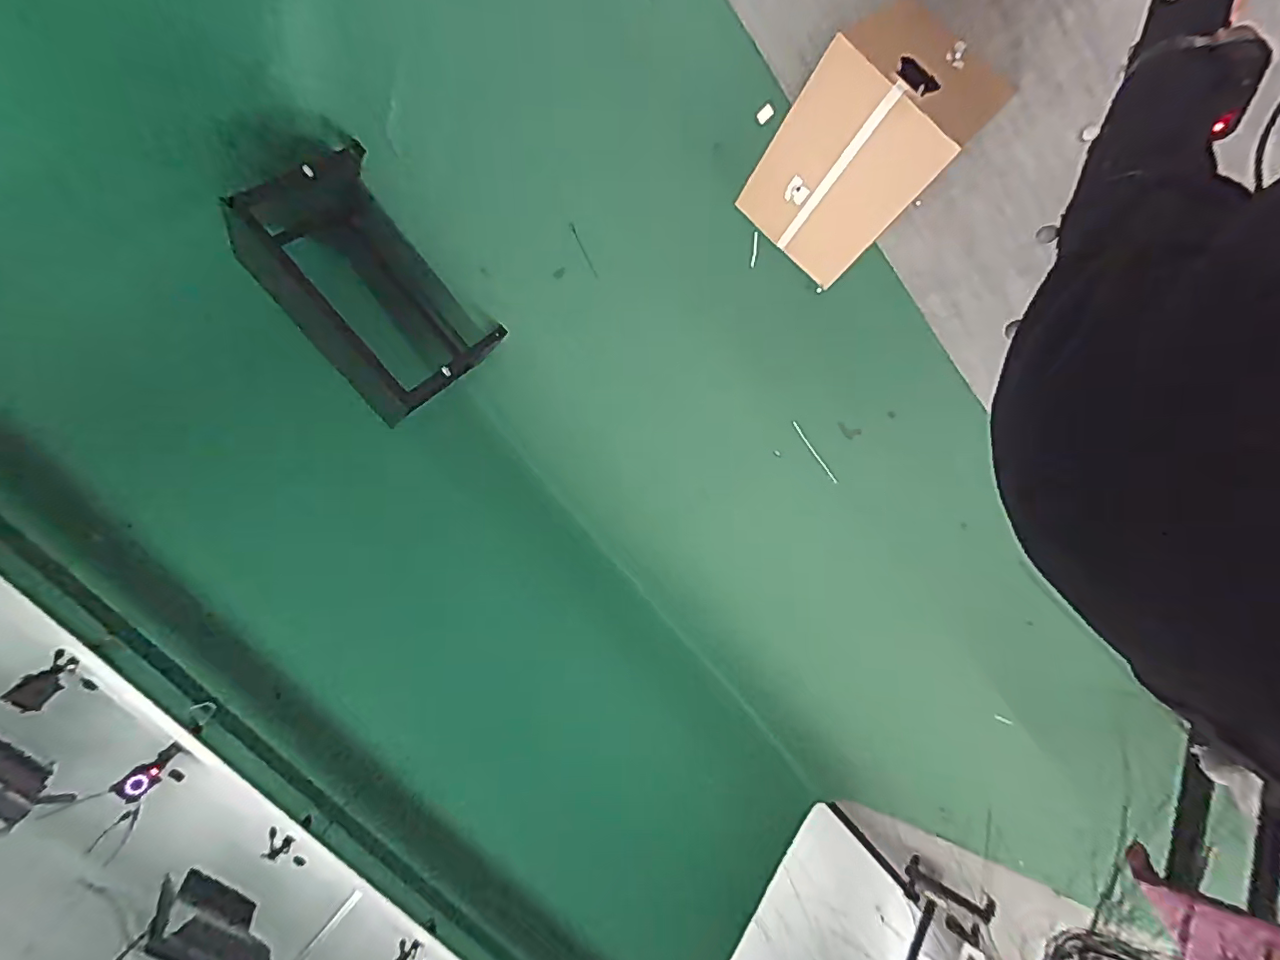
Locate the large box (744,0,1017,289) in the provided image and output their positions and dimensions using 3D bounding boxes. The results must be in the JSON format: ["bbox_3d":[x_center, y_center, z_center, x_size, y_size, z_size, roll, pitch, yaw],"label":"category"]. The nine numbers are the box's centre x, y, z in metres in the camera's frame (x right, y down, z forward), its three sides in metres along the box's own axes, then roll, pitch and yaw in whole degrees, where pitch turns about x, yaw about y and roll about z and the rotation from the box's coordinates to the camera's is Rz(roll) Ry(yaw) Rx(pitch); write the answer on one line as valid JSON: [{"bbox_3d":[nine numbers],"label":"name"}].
[{"bbox_3d":[0.511,-0.729,1.205,0.320,0.320,0.408,45,154,1],"label":"large box"}]
